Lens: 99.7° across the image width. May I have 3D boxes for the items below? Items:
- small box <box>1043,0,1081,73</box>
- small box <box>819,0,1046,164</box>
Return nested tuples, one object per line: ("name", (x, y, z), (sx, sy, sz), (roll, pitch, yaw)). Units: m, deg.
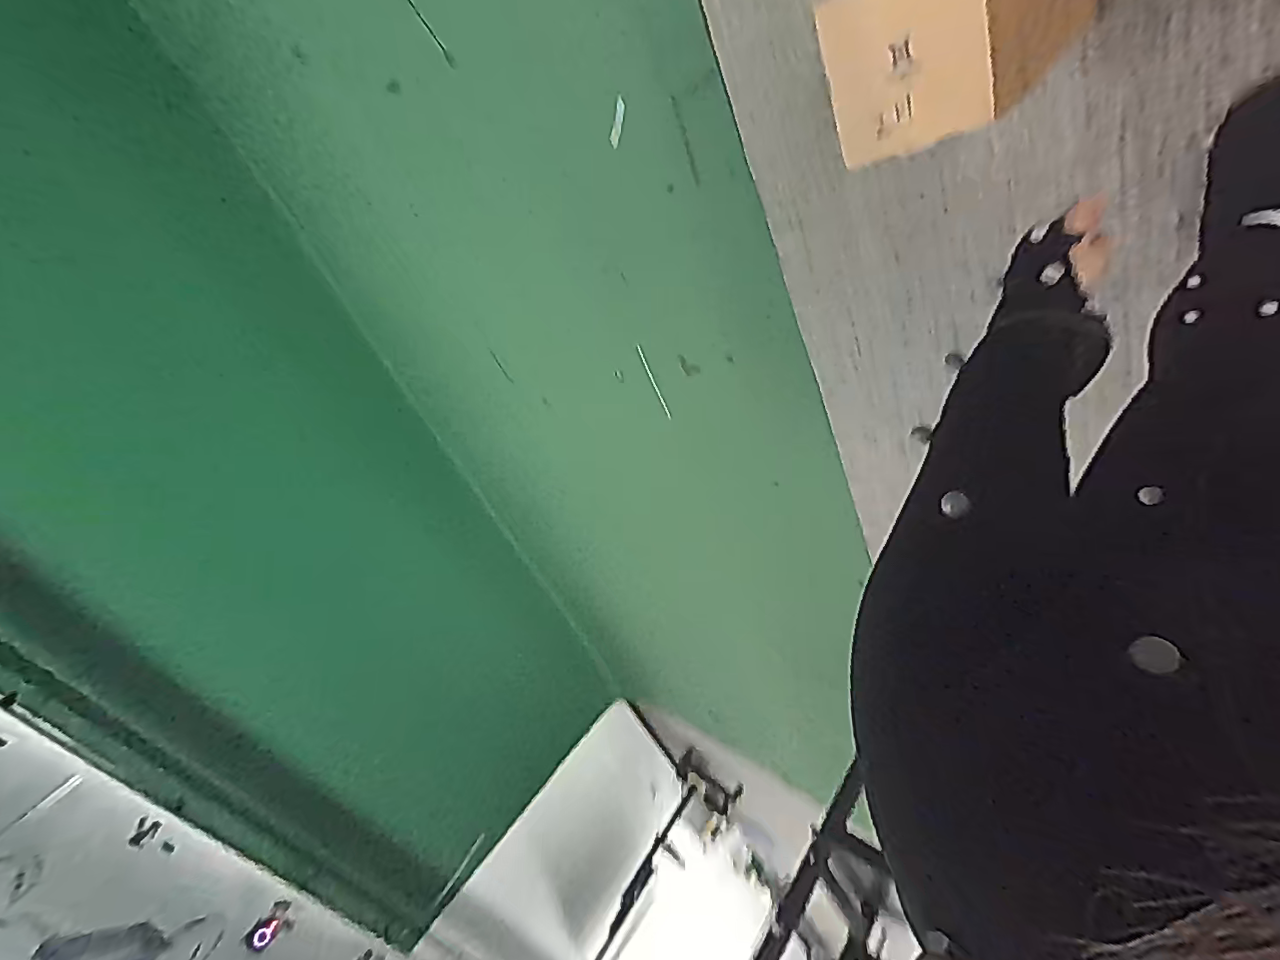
("small box", (0.435, -0.600, 0.685), (0.168, 0.176, 0.179), (10, 137, 49))
("small box", (0.333, -0.496, 0.607), (0.168, 0.176, 0.179), (11, 136, 49))
